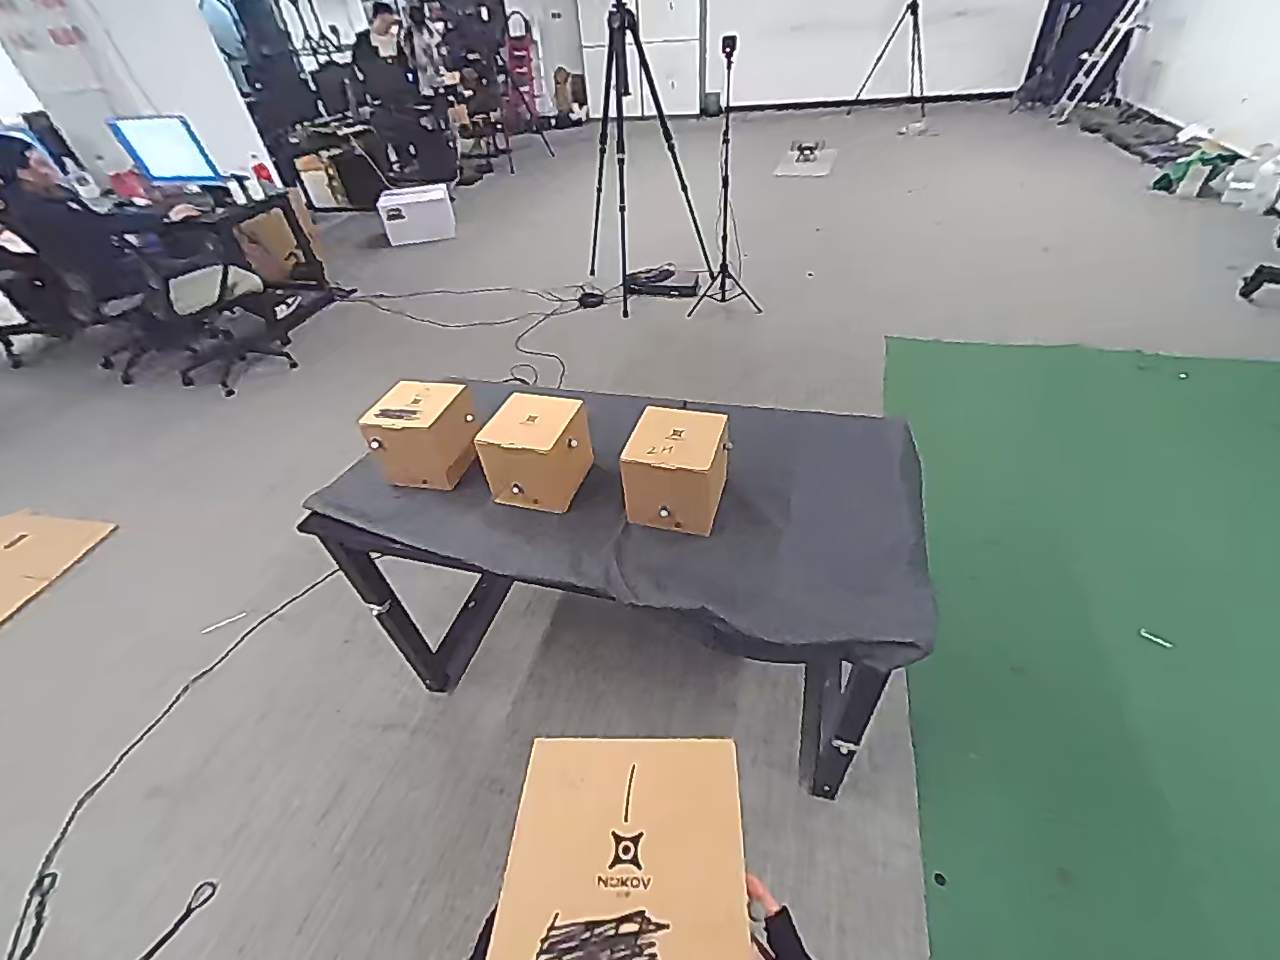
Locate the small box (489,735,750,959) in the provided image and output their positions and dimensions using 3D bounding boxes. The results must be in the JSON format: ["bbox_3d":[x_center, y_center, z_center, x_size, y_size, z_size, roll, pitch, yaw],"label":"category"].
[{"bbox_3d":[-0.001,0.324,0.420,0.168,0.176,0.179,-2,39,6],"label":"small box"}]

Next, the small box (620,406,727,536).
[{"bbox_3d":[0.069,-0.019,1.059,0.168,0.176,0.179,9,44,16],"label":"small box"}]

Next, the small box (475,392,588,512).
[{"bbox_3d":[-0.216,-0.060,1.135,0.168,0.176,0.179,9,44,15],"label":"small box"}]
